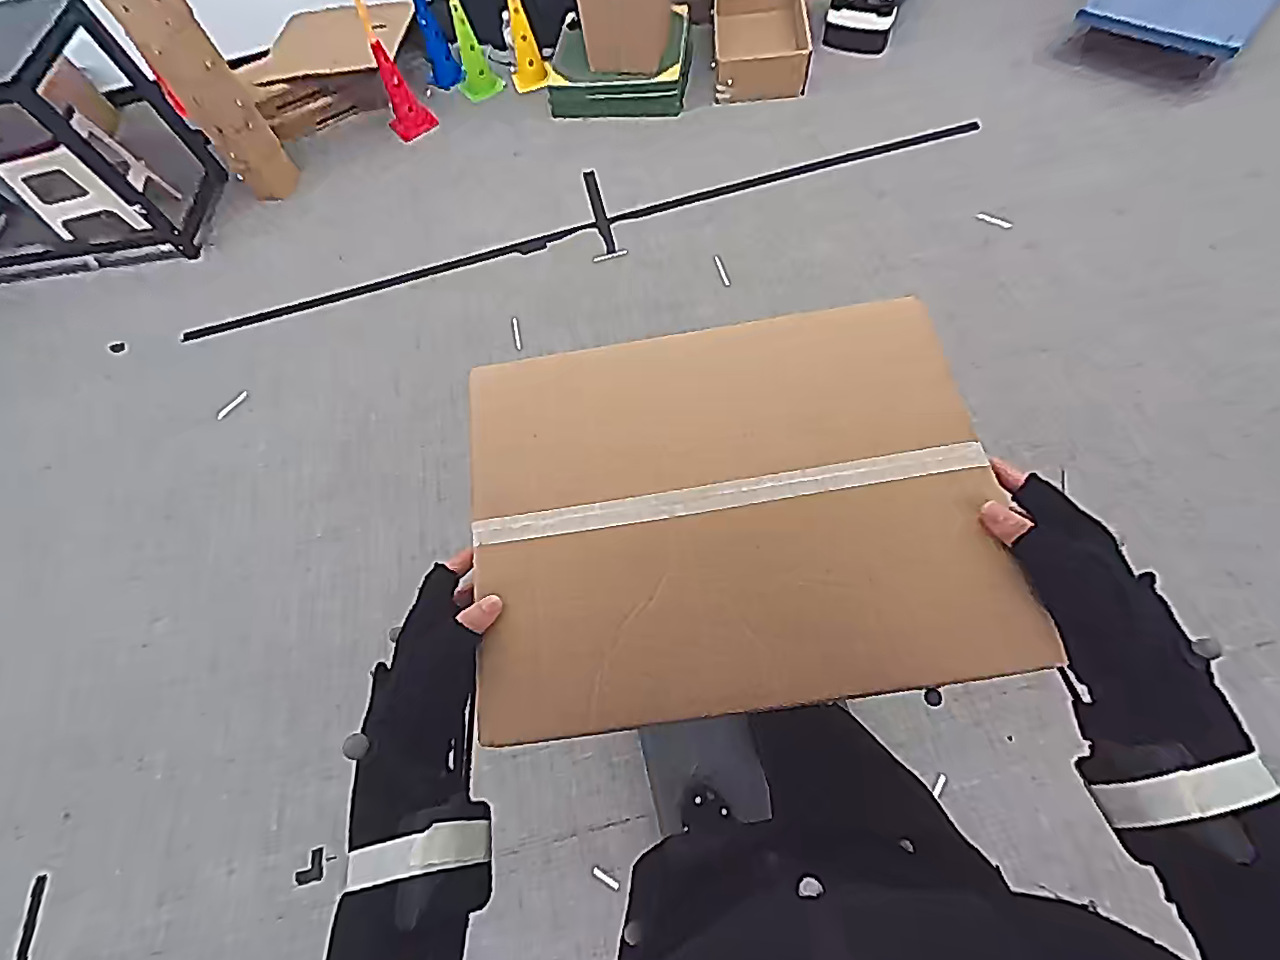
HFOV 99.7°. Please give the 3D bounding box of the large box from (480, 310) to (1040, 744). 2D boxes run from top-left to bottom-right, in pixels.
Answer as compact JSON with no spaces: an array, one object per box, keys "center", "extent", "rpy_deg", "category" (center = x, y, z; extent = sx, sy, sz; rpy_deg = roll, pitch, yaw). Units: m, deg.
[{"center":[0.082,0.068,0.576],"extent":[0.408,0.320,0.320],"rpy_deg":[-9,68,1],"category":"large box"}]
